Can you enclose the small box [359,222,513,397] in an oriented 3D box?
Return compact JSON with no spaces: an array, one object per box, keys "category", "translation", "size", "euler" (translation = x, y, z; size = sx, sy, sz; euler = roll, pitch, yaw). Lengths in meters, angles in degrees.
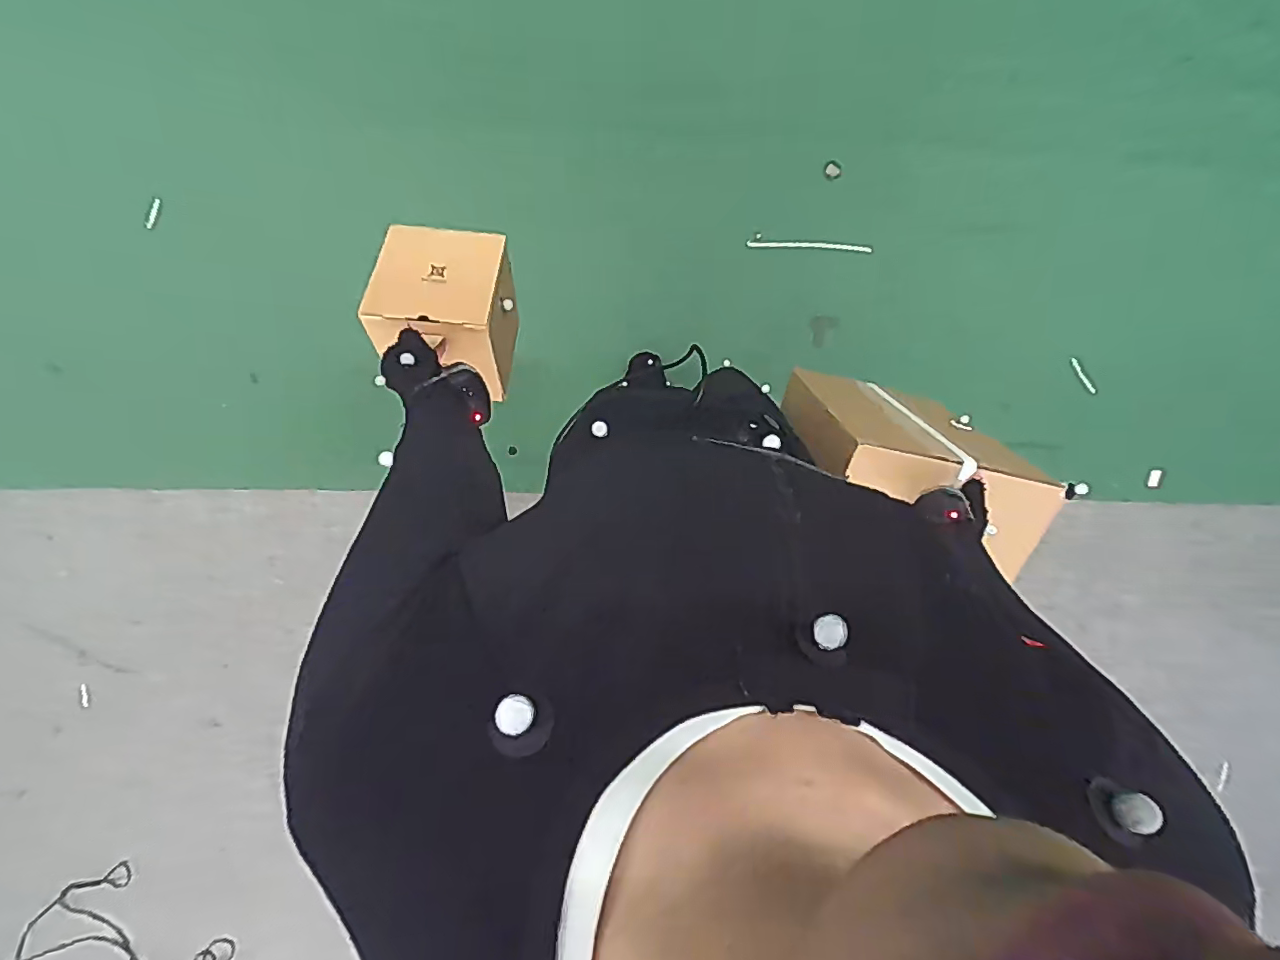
[{"category":"small box","translation":[-0.289,-0.249,0.812],"size":[0.168,0.176,0.179],"euler":[5,65,-4]}]
